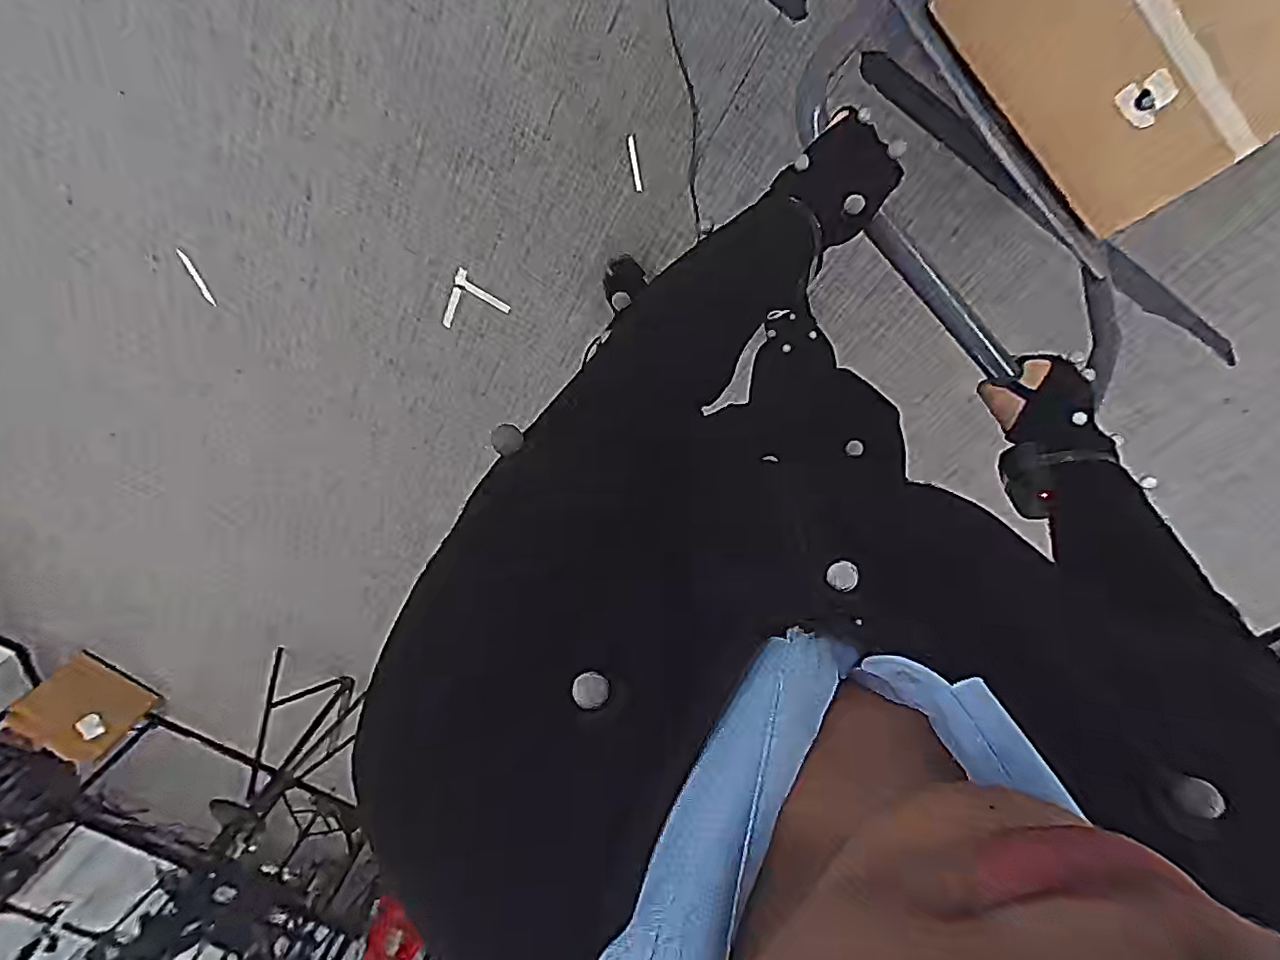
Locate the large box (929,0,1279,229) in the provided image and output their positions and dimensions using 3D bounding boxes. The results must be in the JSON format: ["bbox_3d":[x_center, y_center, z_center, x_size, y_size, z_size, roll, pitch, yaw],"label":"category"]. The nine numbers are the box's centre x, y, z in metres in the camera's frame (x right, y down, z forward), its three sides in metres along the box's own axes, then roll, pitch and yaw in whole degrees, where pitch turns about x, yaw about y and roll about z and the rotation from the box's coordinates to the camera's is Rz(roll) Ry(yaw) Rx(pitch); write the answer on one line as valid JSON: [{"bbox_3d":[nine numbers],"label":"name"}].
[{"bbox_3d":[0.646,-0.640,0.714,0.408,0.320,0.320,40,140,-15],"label":"large box"}]
